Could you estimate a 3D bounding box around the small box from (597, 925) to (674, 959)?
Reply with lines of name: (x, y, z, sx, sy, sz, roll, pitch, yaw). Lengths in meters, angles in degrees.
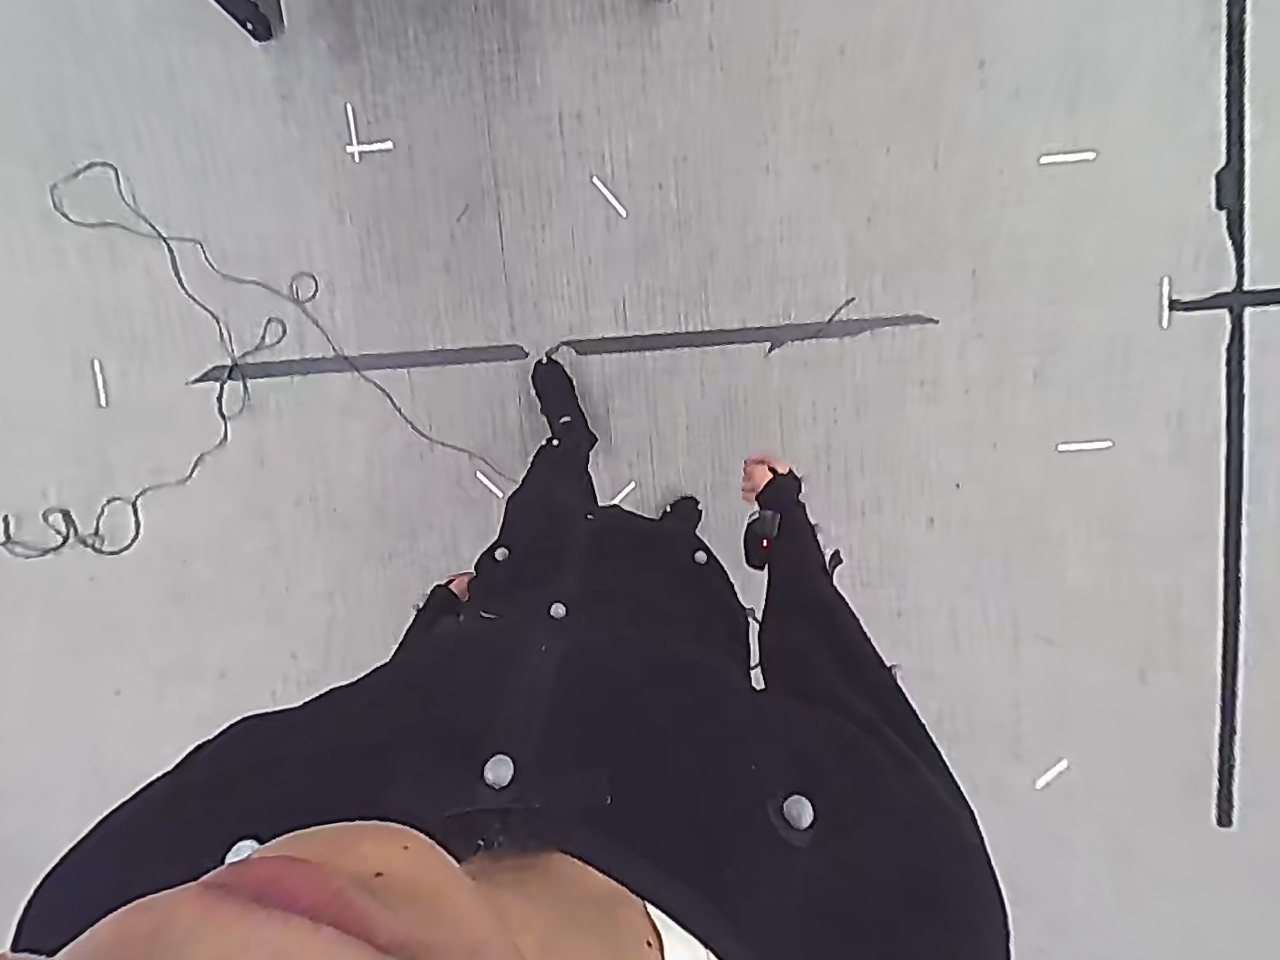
small box: (-0.007, 1.179, 1.245, 0.179, 0.176, 0.168, -9, 97, 2)
